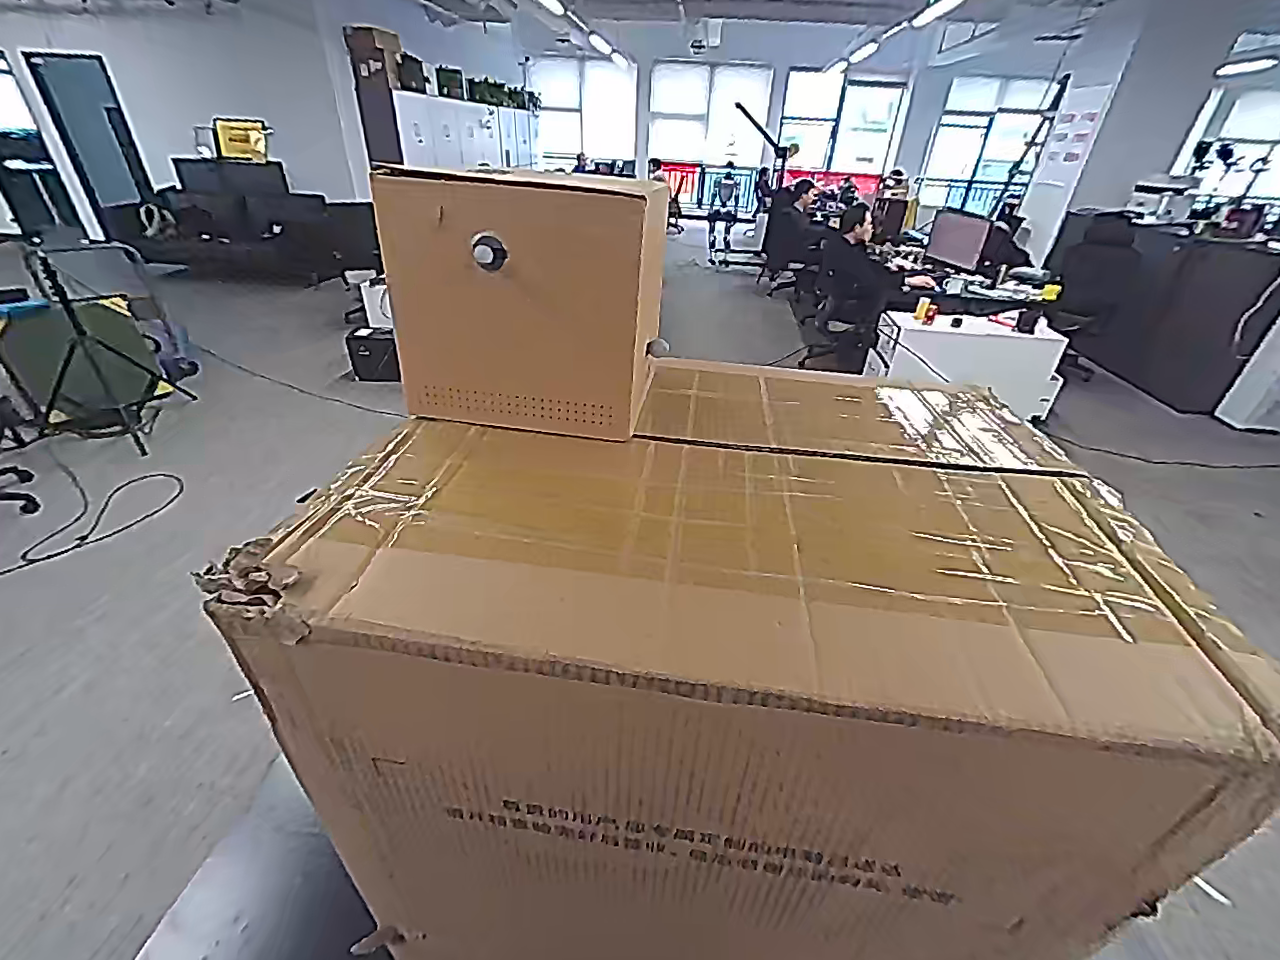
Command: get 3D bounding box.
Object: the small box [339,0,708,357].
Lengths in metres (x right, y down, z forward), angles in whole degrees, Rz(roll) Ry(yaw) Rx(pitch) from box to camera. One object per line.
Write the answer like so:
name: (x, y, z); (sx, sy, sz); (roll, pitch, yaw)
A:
small box: (-0.054, -0.189, 0.357); (0.179, 0.176, 0.168); (8, 31, 4)
